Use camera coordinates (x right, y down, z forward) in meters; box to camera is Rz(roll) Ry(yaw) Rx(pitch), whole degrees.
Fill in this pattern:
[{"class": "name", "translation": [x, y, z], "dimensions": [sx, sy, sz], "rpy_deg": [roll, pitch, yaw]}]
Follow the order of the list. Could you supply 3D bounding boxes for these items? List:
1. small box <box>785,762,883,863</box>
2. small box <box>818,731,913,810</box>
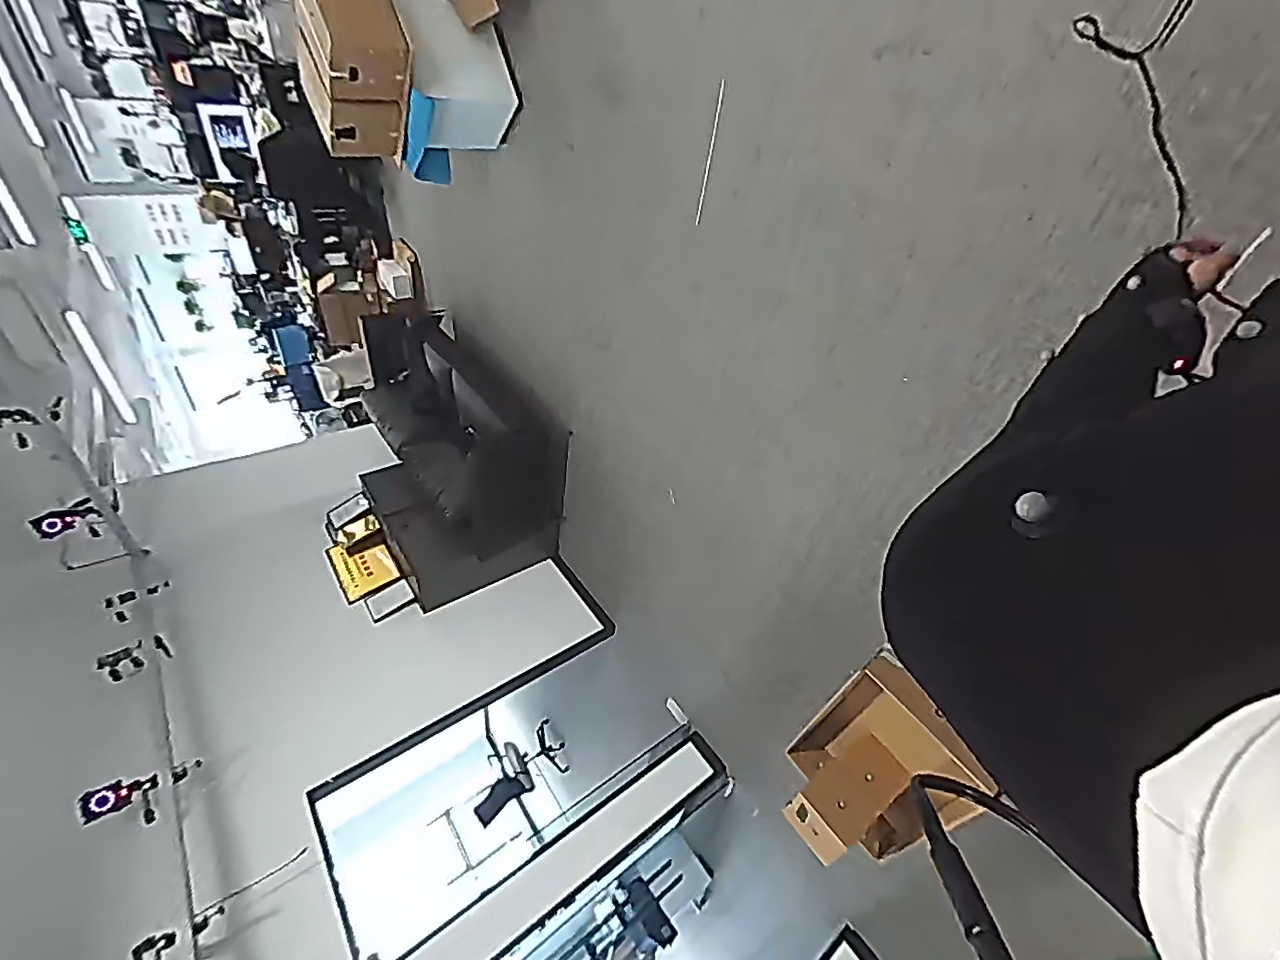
[{"class": "small box", "translation": [0.562, 0.955, 1.571], "dimensions": [0.179, 0.176, 0.168], "rpy_deg": [44, 140, 32]}, {"class": "small box", "translation": [0.691, 0.906, 1.662], "dimensions": [0.179, 0.176, 0.168], "rpy_deg": [46, 141, 31]}]
